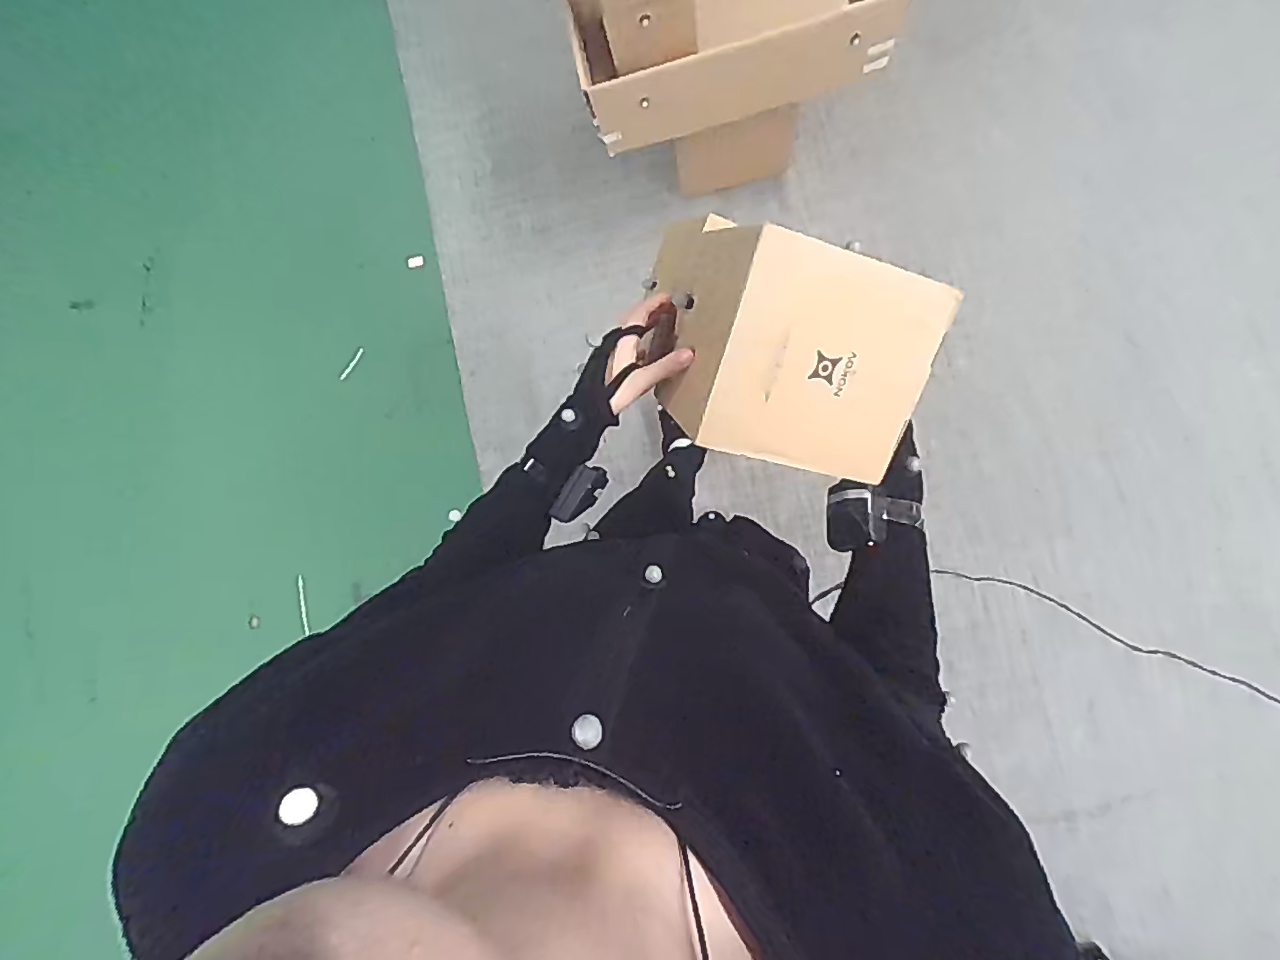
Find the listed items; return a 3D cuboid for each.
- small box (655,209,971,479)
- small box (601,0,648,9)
[{"bbox_3d":[0.129,-0.120,0.476,0.179,0.176,0.168,12,108,-14],"label":"small box"},{"bbox_3d":[-0.013,-0.945,0.904,0.168,0.176,0.179,-12,85,8],"label":"small box"}]
